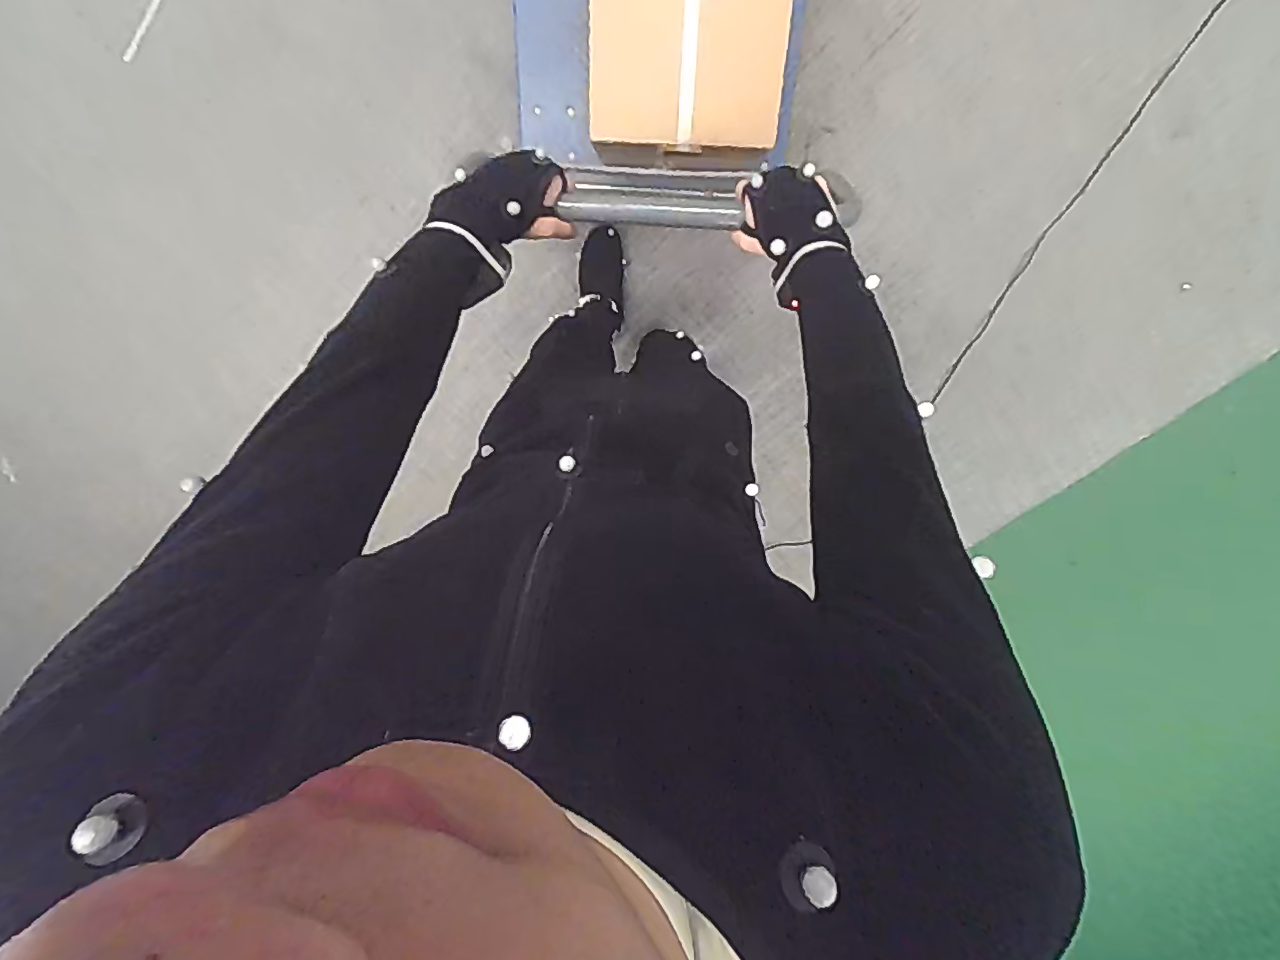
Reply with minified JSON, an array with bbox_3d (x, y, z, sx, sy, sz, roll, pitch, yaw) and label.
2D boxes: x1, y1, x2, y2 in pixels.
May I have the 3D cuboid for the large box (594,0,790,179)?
[{"bbox_3d":[0.086,-0.798,0.991,0.320,0.320,0.408,2,113,-1],"label":"large box"}]
